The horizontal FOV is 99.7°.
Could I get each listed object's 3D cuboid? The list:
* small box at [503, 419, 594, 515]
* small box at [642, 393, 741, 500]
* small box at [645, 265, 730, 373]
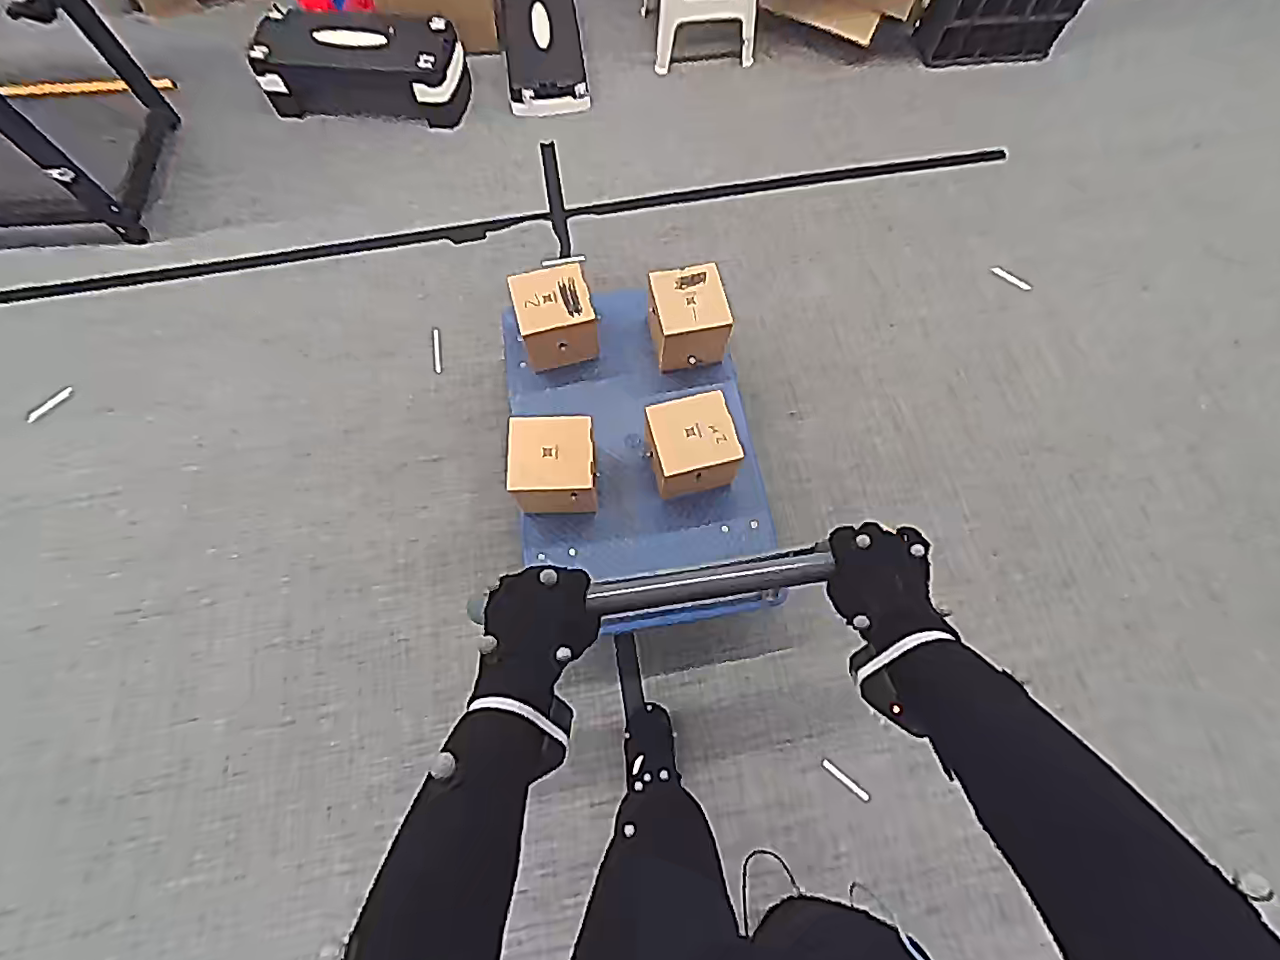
[{"bbox_3d":[-0.194,-0.023,1.189,0.179,0.176,0.168,-2,70,-3],"label":"small box"},{"bbox_3d":[0.107,-0.068,1.208,0.179,0.176,0.168,-14,71,-5],"label":"small box"},{"bbox_3d":[0.108,-0.389,1.321,0.168,0.176,0.179,-11,72,-5],"label":"small box"}]
